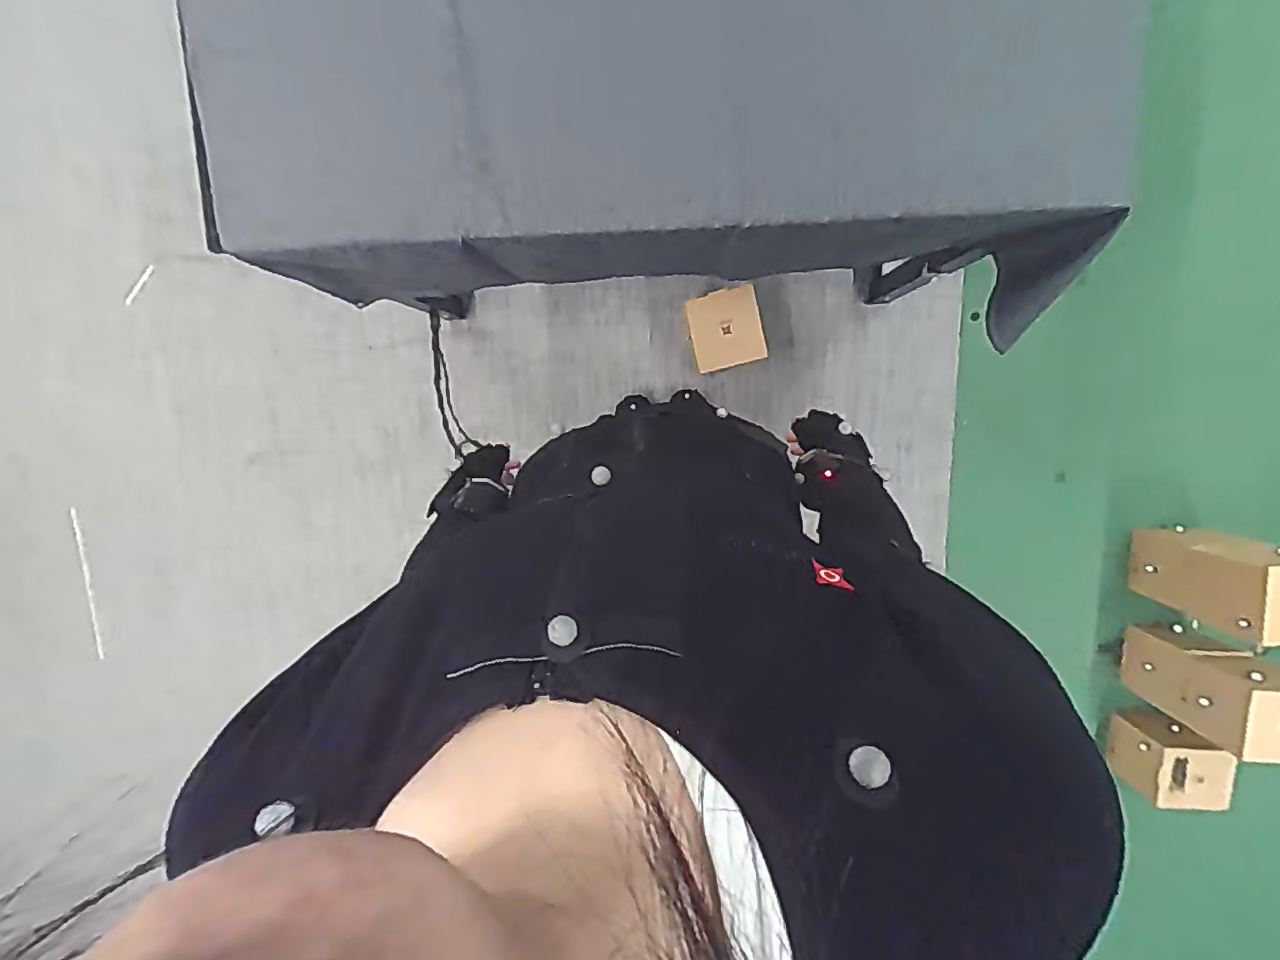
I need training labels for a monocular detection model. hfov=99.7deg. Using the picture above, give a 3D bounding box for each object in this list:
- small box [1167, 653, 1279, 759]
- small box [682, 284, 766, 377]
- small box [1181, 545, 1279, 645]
[{"bbox_3d":[1.375,0.512,1.238,0.179,0.176,0.168,0,99,3],"label":"small box"},{"bbox_3d":[0.201,-0.364,1.342,0.168,0.176,0.179,-13,97,5],"label":"small box"},{"bbox_3d":[1.367,0.247,1.202,0.168,0.176,0.179,-4,98,3],"label":"small box"}]
